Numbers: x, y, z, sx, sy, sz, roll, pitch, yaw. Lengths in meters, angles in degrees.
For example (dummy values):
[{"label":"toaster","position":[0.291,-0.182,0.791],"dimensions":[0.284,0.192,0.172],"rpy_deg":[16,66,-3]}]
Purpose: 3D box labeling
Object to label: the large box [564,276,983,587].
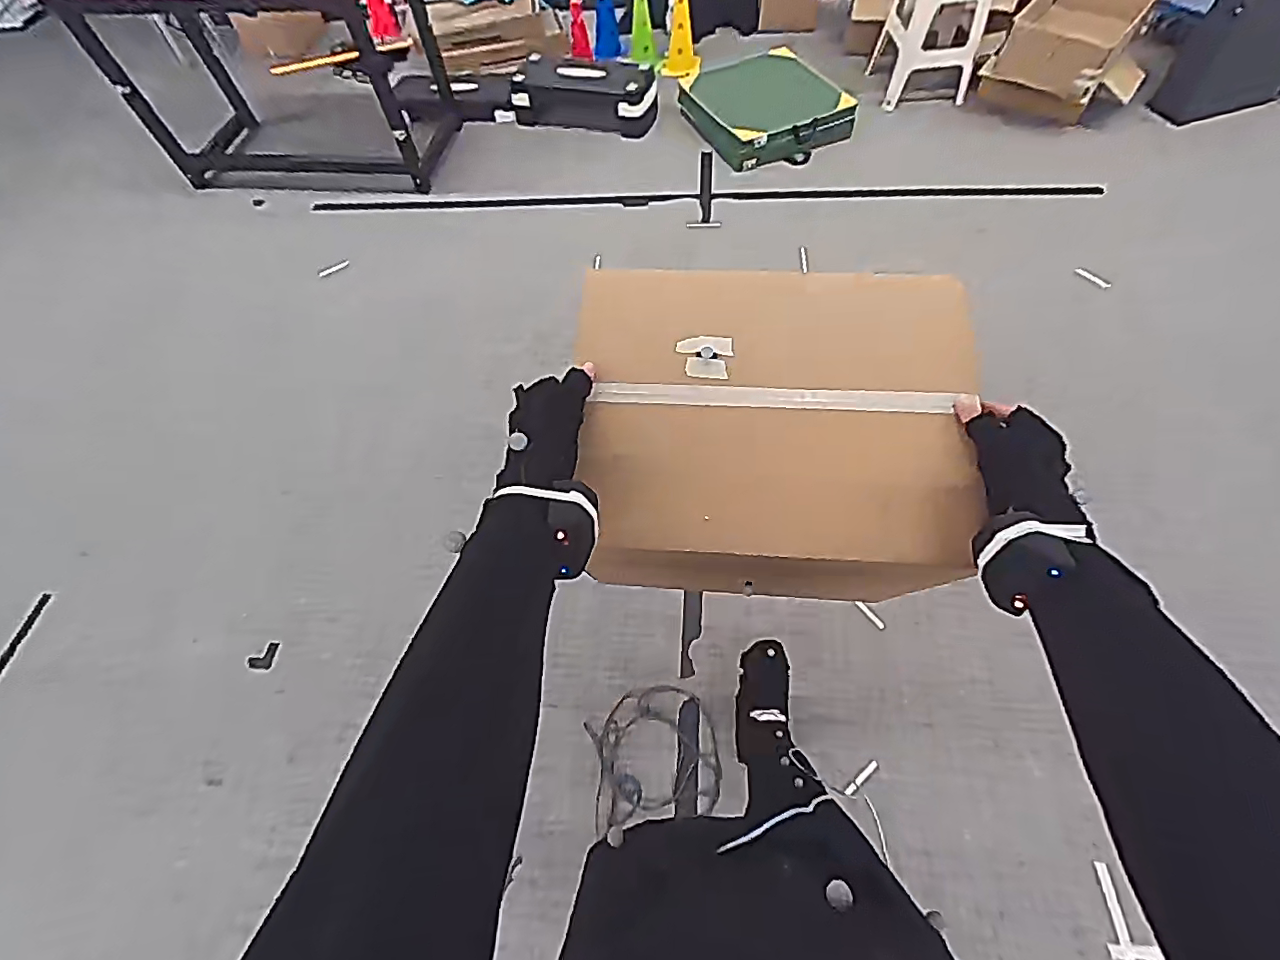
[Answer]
[{"label":"large box","position":[0.144,-0.038,0.702],"dimensions":[0.408,0.320,0.320],"rpy_deg":[3,71,6]}]
